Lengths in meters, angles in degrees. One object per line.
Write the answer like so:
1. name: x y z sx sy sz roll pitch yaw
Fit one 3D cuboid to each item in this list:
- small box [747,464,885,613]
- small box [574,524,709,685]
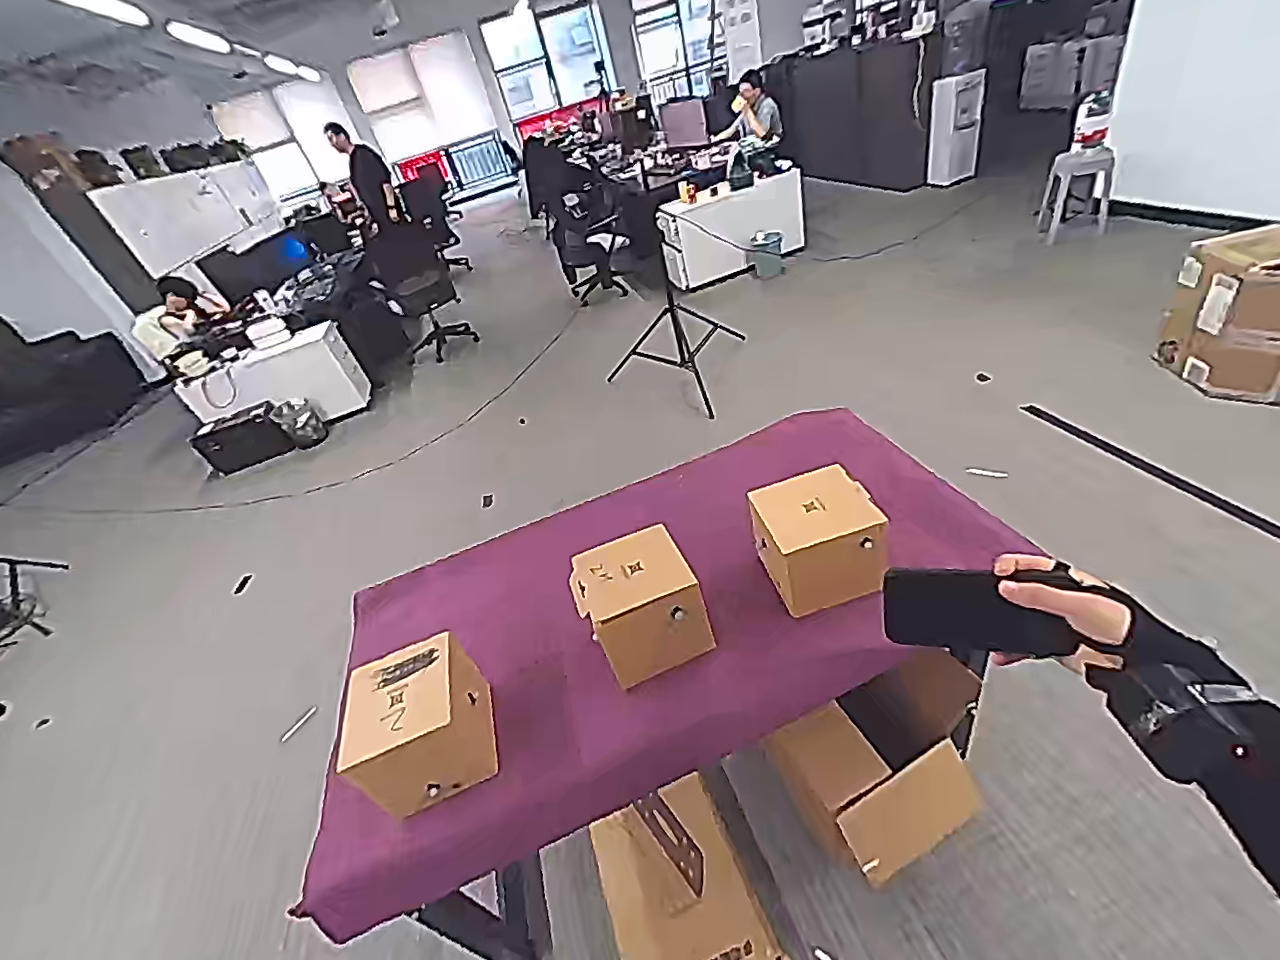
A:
1. small box: 0.306 0.104 0.944 0.179 0.176 0.168 -18 37 -1
2. small box: 0.007 0.212 0.927 0.179 0.176 0.168 -23 35 -6
